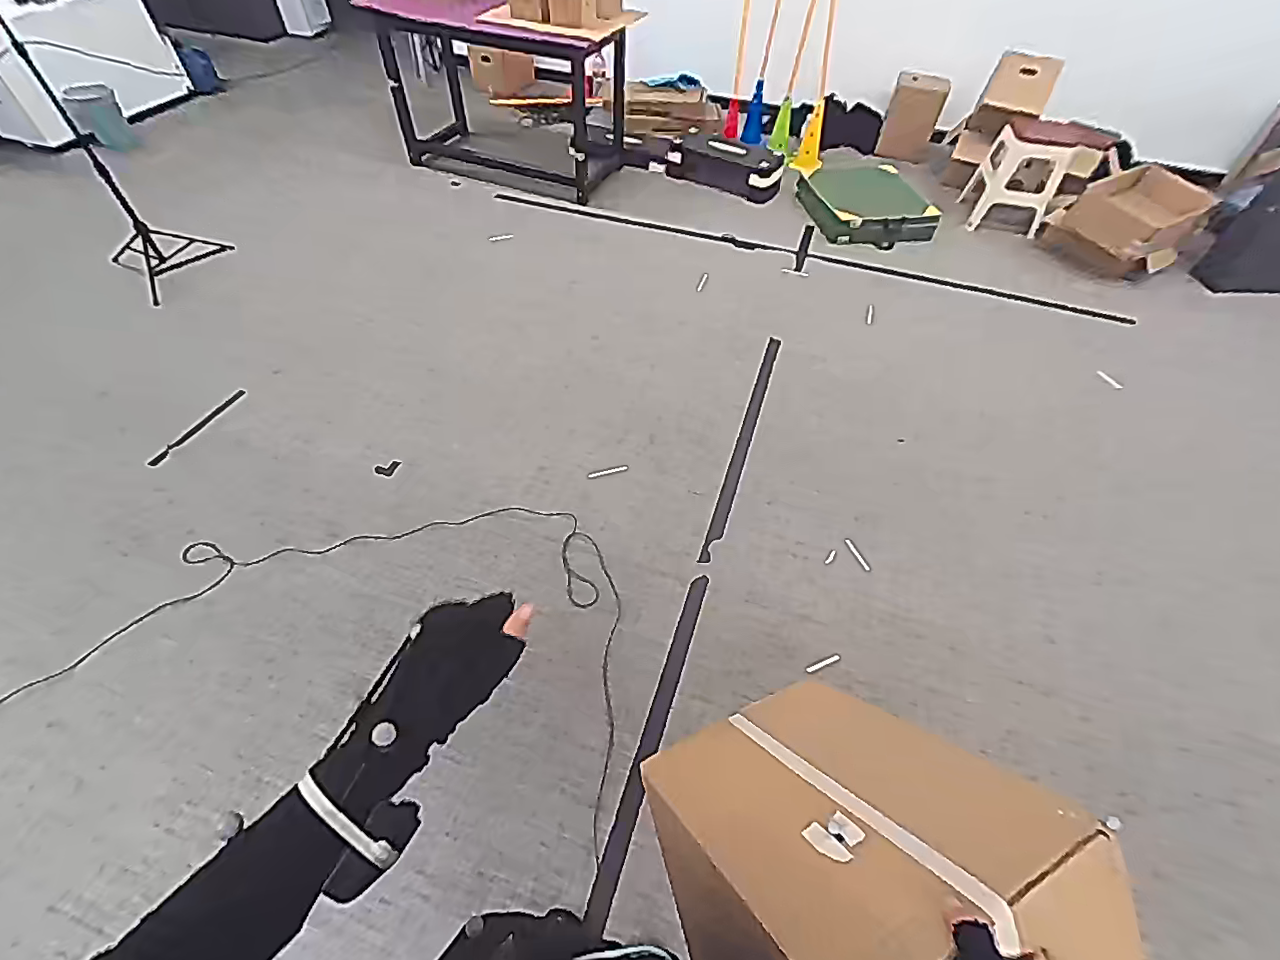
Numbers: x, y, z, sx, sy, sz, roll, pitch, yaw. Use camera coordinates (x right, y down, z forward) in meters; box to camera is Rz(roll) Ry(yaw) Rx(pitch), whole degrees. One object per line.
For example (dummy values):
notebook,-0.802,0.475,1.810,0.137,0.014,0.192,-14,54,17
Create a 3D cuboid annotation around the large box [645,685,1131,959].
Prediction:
large box,0.249,0.501,0.628,0.320,0.408,0.320,-16,96,-21
